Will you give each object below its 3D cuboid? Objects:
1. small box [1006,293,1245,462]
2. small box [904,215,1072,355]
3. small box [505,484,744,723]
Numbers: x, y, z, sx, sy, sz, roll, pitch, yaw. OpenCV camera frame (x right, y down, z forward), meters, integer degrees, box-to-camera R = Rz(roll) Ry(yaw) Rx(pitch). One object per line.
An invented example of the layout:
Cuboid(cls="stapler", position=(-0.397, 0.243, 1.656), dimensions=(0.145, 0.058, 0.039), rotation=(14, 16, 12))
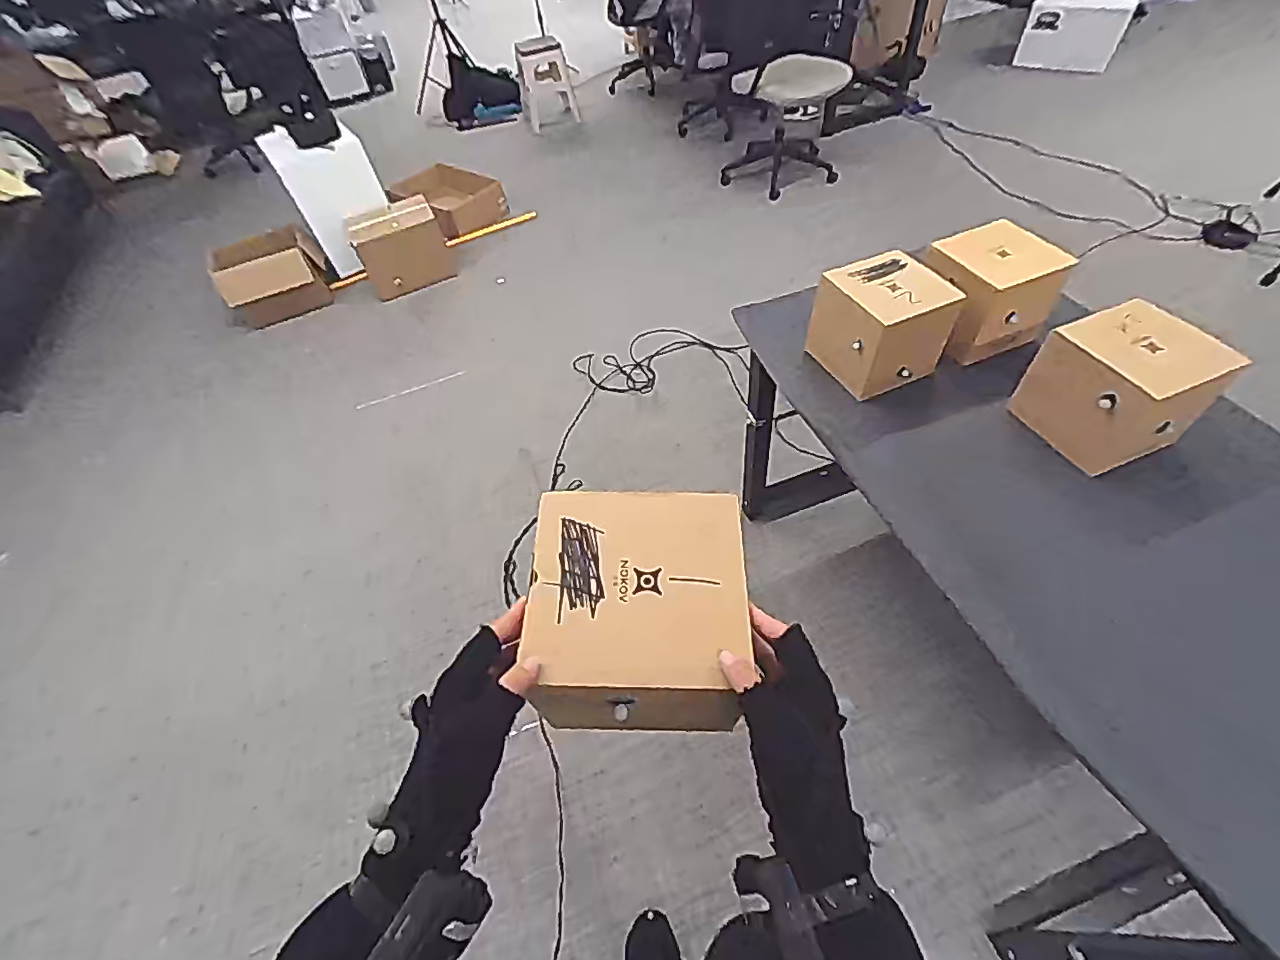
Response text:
Cuboid(cls="small box", position=(0.723, -0.149, 0.832), dimensions=(0.168, 0.176, 0.179), rotation=(-20, 52, -8))
Cuboid(cls="small box", position=(0.633, -0.355, 1.010), dimensions=(0.168, 0.176, 0.179), rotation=(-21, 52, -8))
Cuboid(cls="small box", position=(-0.007, 0.118, 0.495), dimensions=(0.179, 0.176, 0.168), rotation=(0, 55, 2))
